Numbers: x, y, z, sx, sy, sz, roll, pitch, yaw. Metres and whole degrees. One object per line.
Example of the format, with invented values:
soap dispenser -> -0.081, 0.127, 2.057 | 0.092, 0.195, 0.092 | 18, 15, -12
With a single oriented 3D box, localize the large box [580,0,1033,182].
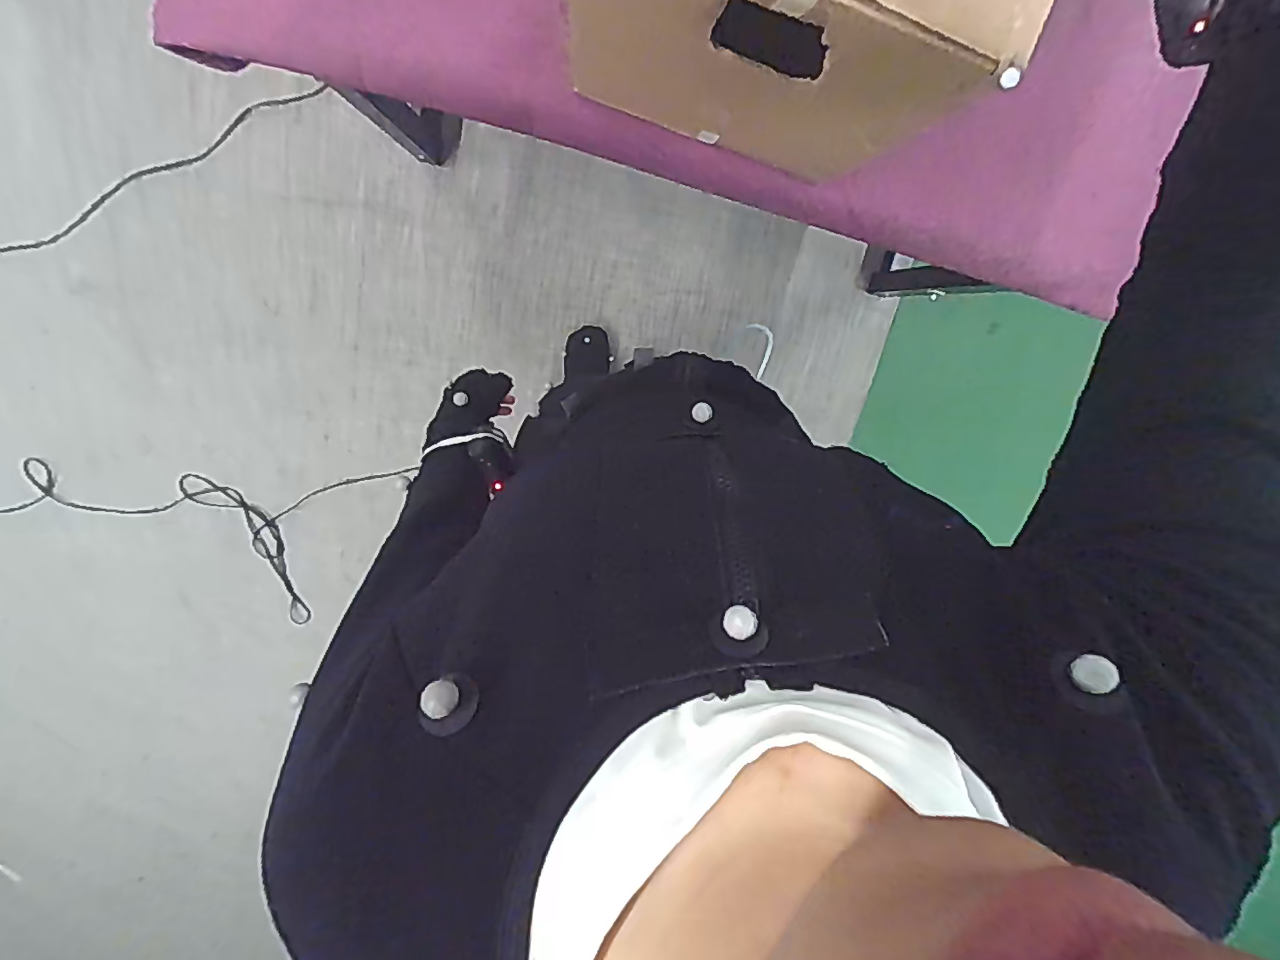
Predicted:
large box -> 0.146, -0.537, 0.445 | 0.320, 0.320, 0.408 | 15, 105, -9
